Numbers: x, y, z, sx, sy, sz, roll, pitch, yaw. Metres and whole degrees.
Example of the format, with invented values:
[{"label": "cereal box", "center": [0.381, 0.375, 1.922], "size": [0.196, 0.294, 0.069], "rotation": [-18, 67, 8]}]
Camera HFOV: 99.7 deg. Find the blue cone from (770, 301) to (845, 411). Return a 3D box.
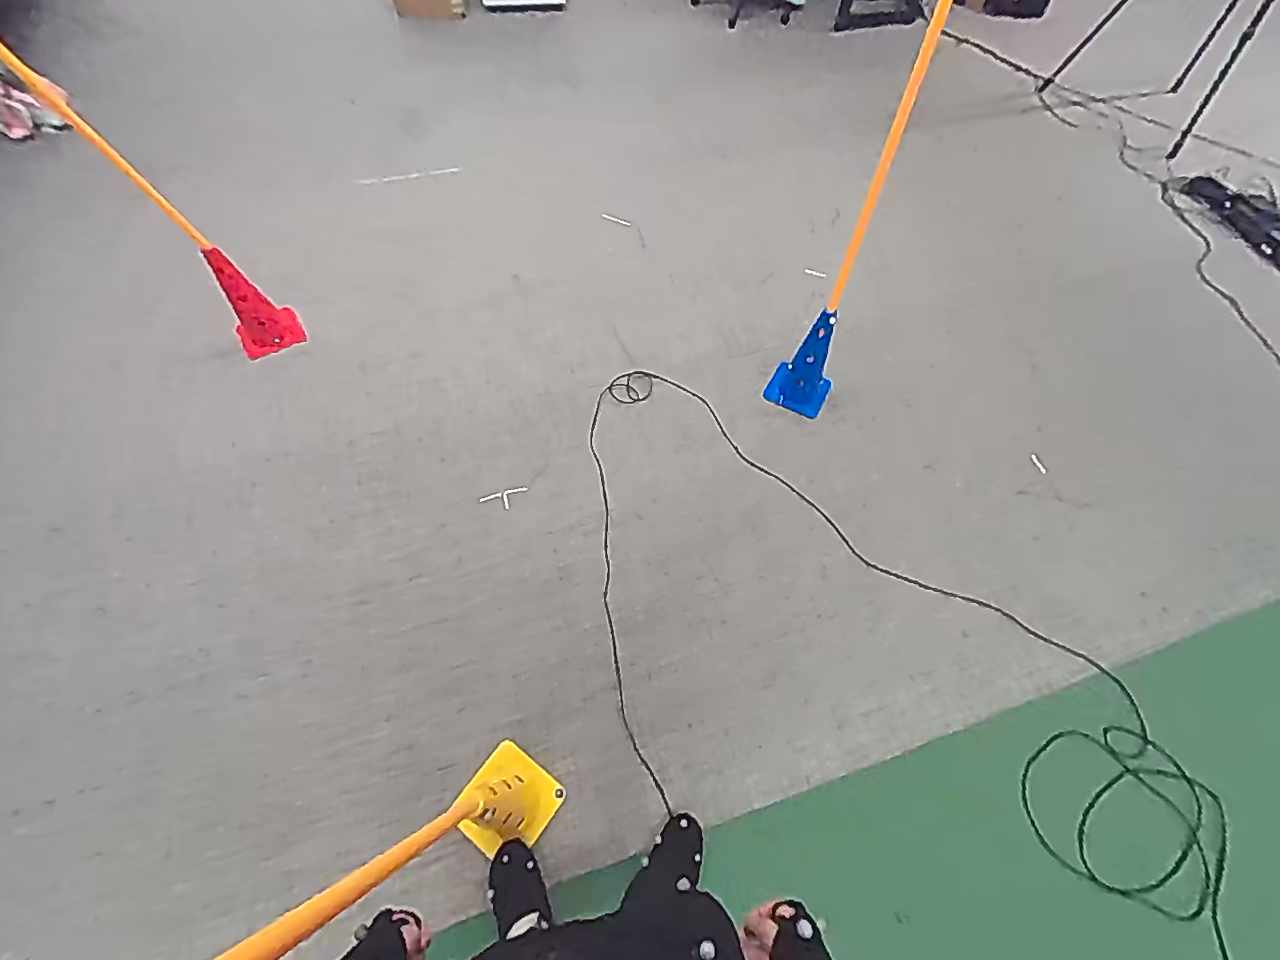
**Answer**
[{"label": "blue cone", "center": [0.568, -0.420, 1.750], "size": [0.192, 0.380, 0.193], "rotation": [26, 60, 12]}]
